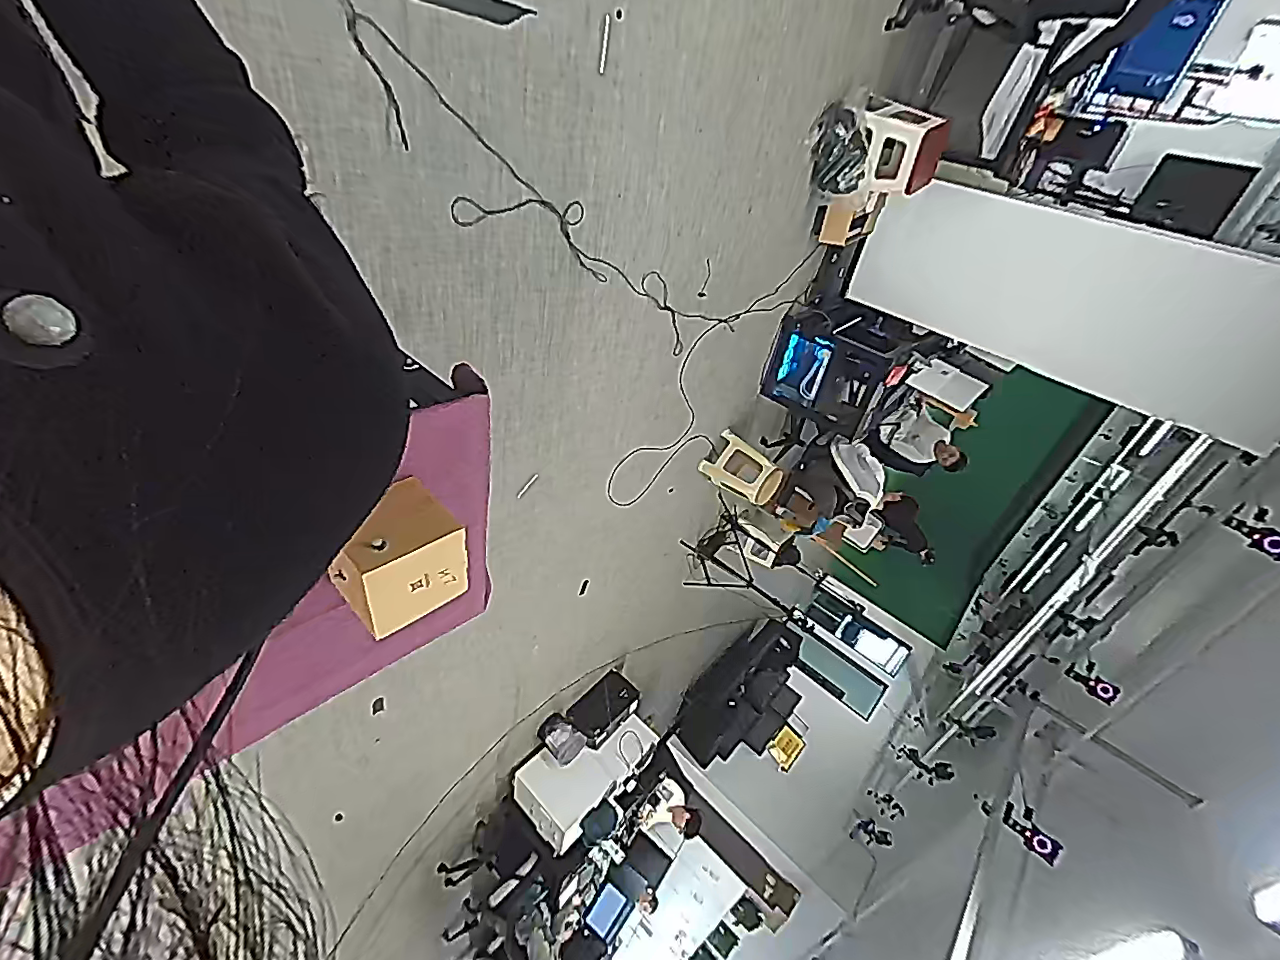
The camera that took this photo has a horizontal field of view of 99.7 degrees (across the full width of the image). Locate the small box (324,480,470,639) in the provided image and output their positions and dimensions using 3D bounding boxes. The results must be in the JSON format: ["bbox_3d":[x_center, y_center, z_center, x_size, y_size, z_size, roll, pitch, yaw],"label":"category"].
[{"bbox_3d":[-0.418,0.129,0.933,0.179,0.176,0.168,-29,144,-40],"label":"small box"}]
